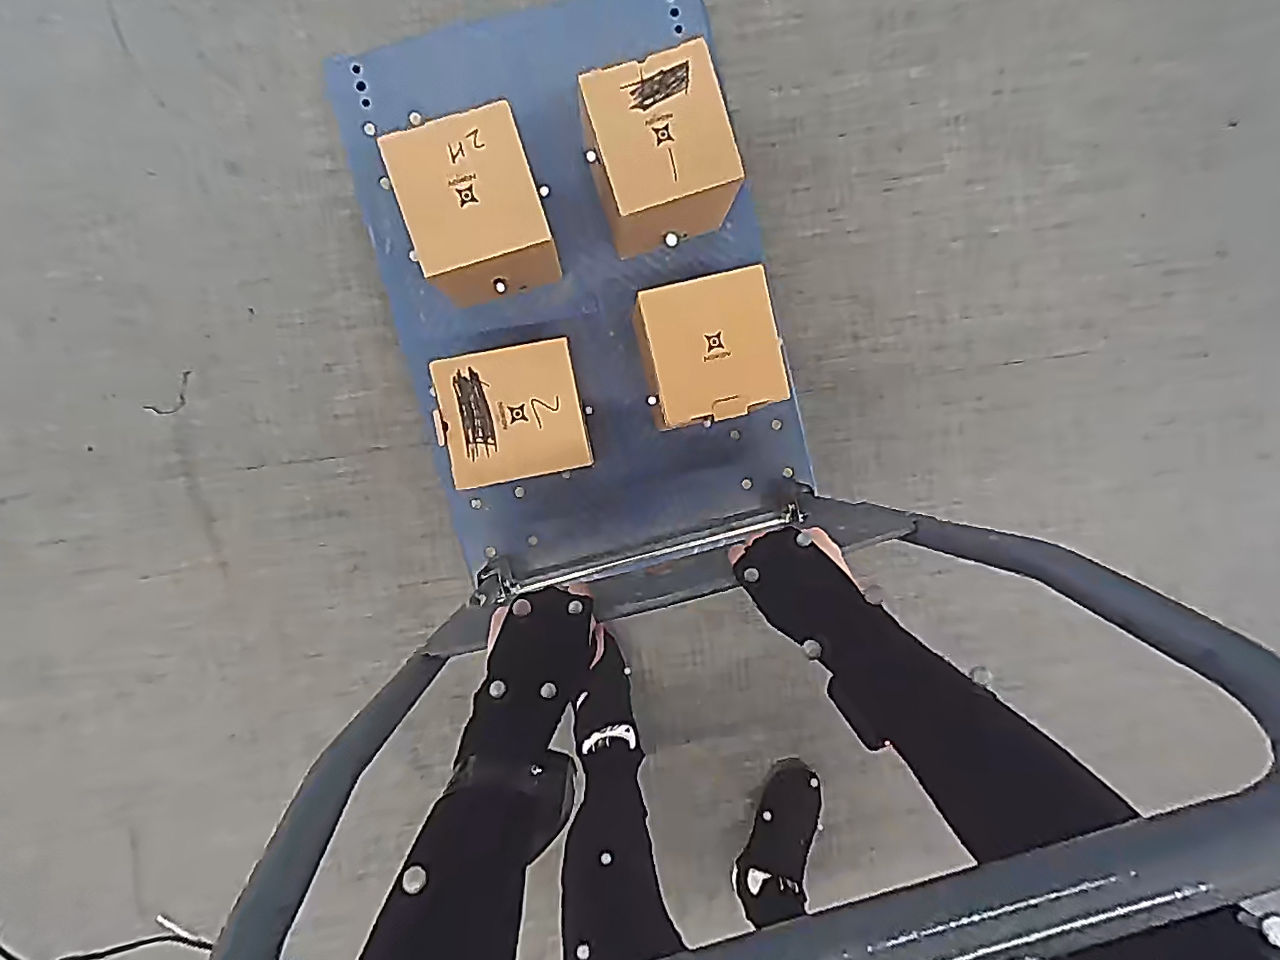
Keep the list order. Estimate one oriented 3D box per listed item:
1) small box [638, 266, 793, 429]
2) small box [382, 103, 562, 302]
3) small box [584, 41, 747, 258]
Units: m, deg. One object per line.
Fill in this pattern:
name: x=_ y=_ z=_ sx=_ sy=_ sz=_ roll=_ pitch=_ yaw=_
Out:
small box: x=0.095 y=-0.175 z=0.765 sx=0.168 sy=0.176 sz=0.179 roll=-13 pitch=95 yaw=-2
small box: x=-0.212 y=-0.357 z=0.736 sx=0.168 sy=0.176 sz=0.179 roll=-18 pitch=95 yaw=-2
small box: x=0.028 y=-0.436 z=0.742 sx=0.168 sy=0.176 sz=0.179 roll=-18 pitch=96 yaw=-1
